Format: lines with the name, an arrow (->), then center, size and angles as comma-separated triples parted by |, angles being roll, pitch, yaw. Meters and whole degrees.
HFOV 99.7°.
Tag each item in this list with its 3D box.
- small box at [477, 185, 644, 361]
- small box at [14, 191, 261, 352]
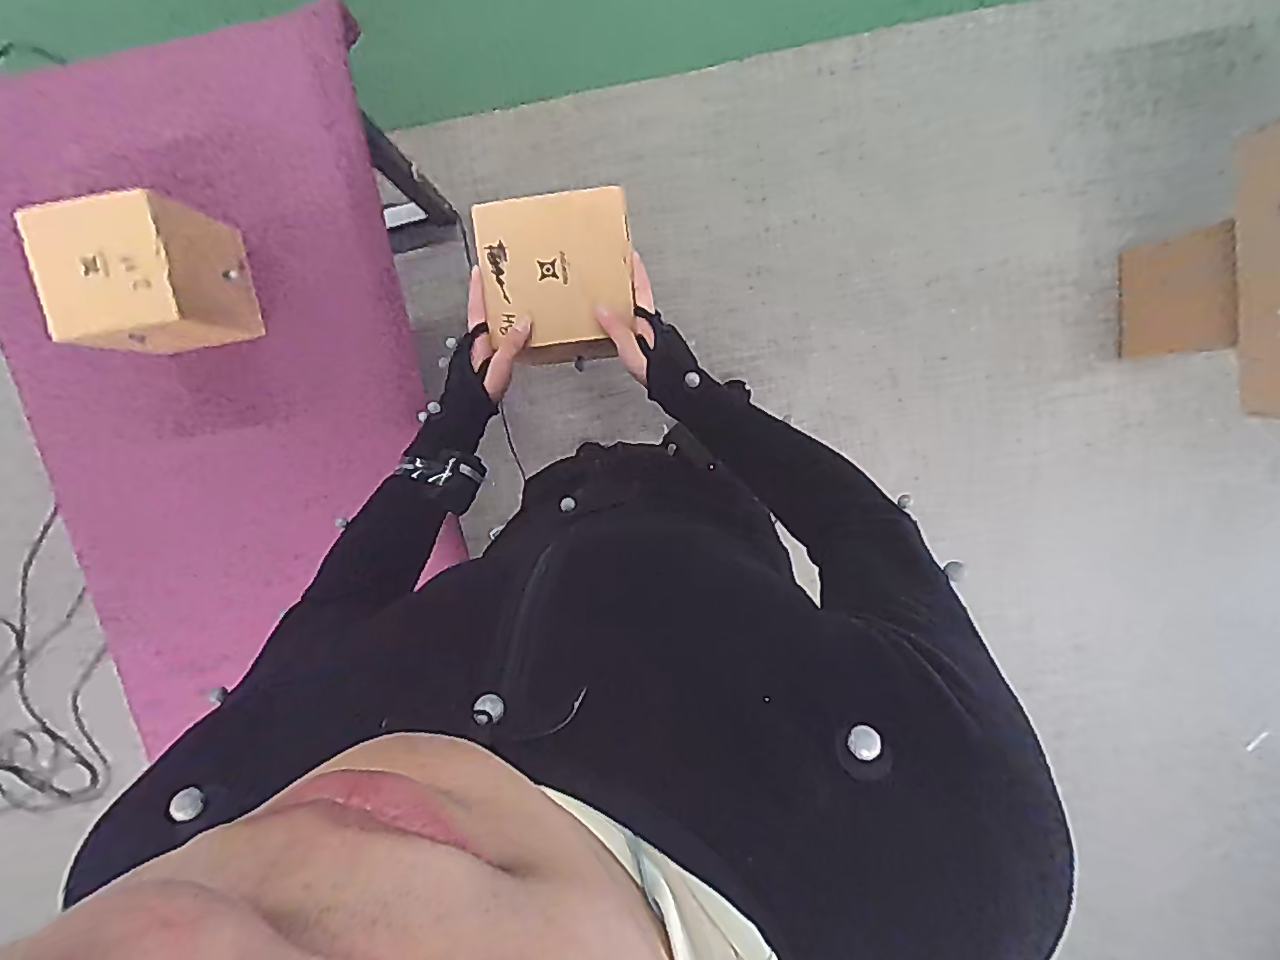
small box -> -0.089, -0.249, 0.688 | 0.179, 0.176, 0.168 | -5, 95, 1
small box -> -0.698, -0.283, 0.774 | 0.179, 0.176, 0.168 | -9, 98, 1
